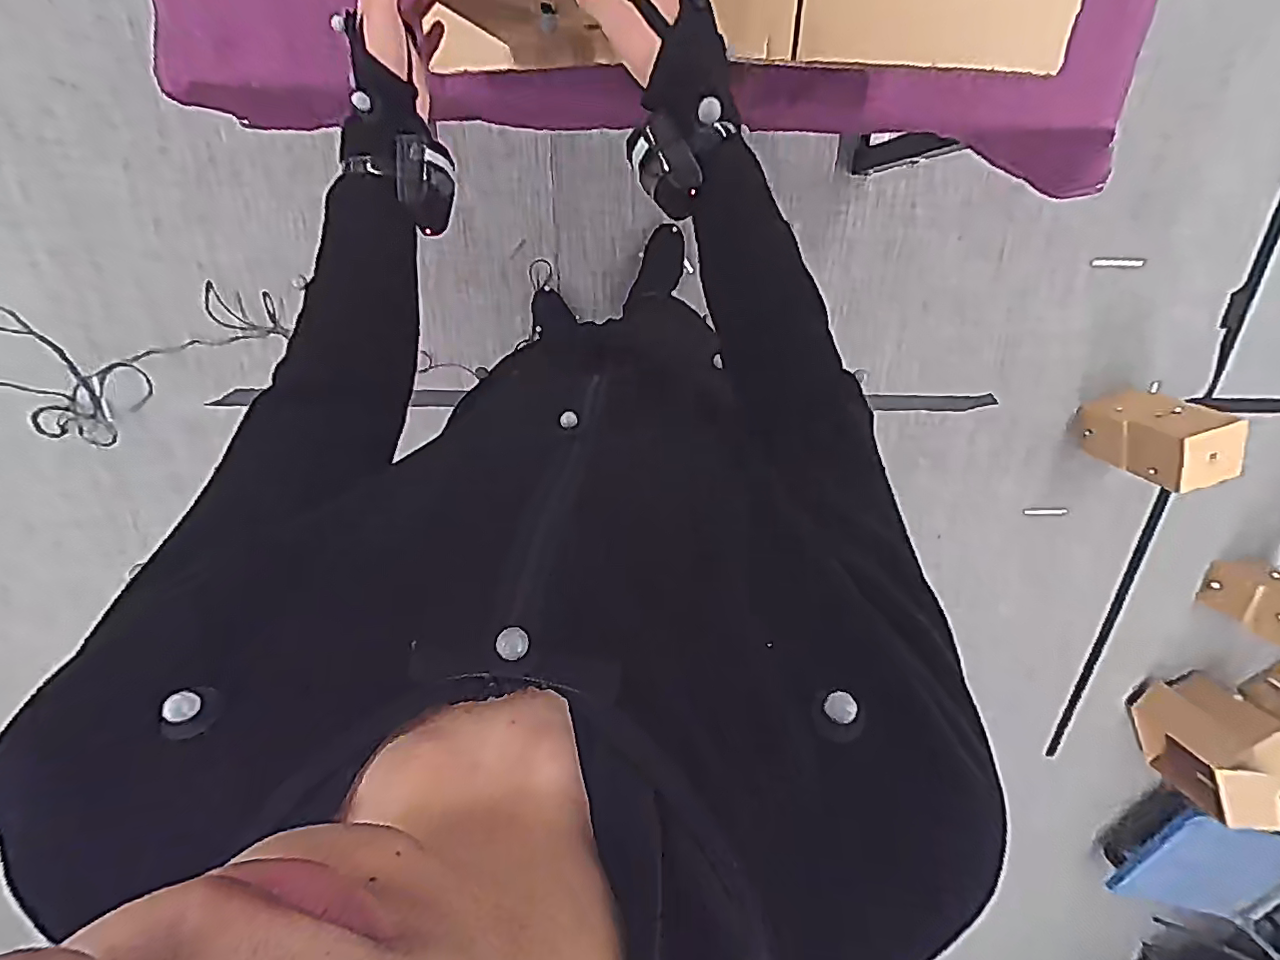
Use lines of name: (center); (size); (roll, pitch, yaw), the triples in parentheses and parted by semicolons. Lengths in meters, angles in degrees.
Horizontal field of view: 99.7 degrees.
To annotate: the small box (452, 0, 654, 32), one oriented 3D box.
small box: (-0.085, -0.505, 0.449); (0.168, 0.176, 0.179); (5, 115, 15)
